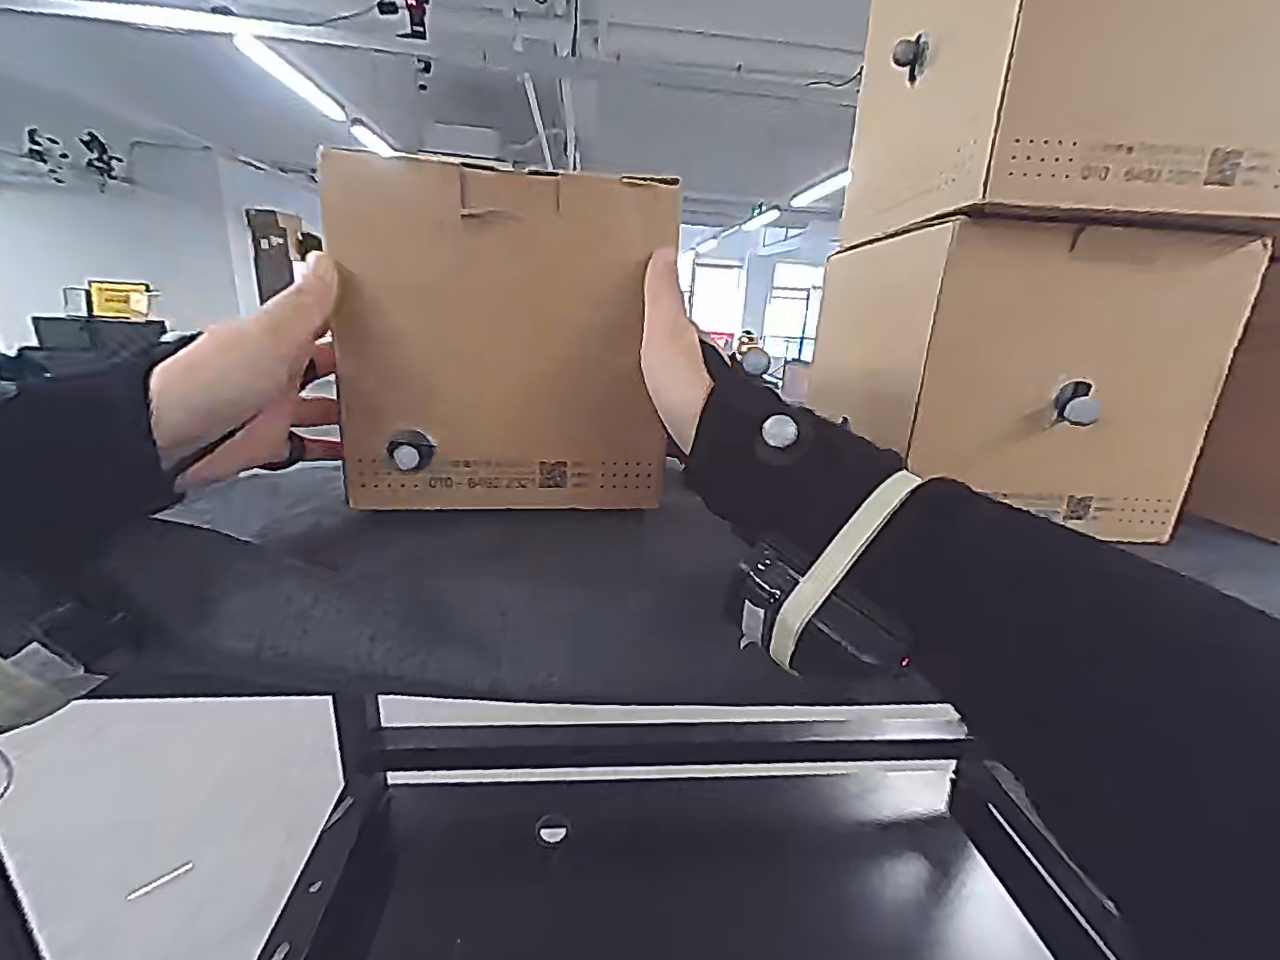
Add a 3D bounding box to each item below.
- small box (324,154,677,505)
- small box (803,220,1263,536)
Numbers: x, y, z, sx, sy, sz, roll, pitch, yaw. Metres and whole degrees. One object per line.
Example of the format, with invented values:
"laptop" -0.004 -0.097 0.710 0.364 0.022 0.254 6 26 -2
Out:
"small box" -0.076 -0.084 0.349 0.168 0.176 0.179 0 13 -10
"small box" 0.225 -0.069 0.369 0.168 0.176 0.179 3 17 -3
